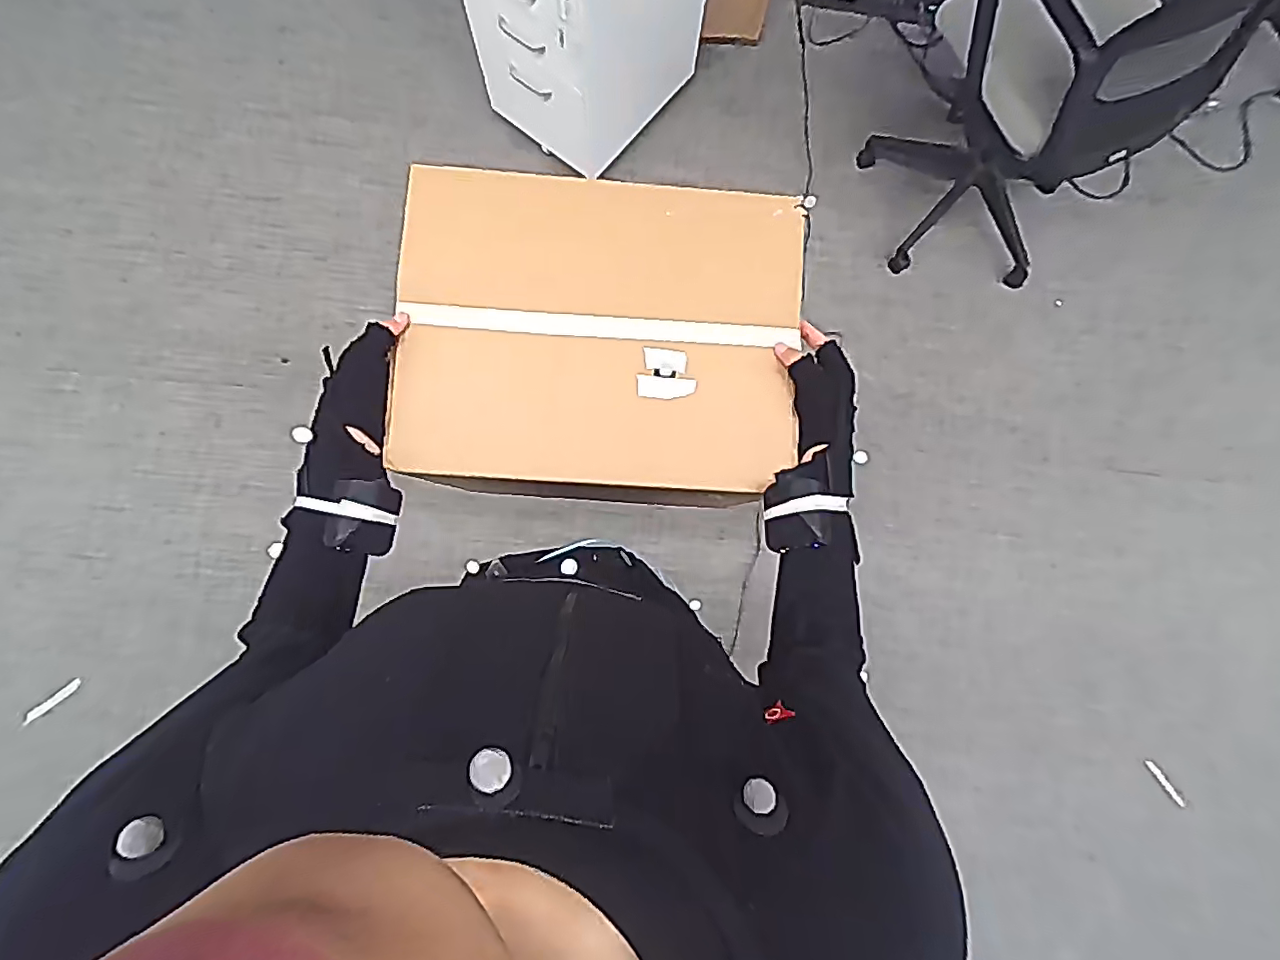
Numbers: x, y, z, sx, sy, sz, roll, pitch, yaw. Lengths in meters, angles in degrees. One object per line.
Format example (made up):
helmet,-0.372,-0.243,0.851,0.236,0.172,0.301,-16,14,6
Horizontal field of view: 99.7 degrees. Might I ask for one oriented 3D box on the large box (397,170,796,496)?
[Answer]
large box,-0.048,-0.148,0.704,0.408,0.320,0.320,4,86,-3
